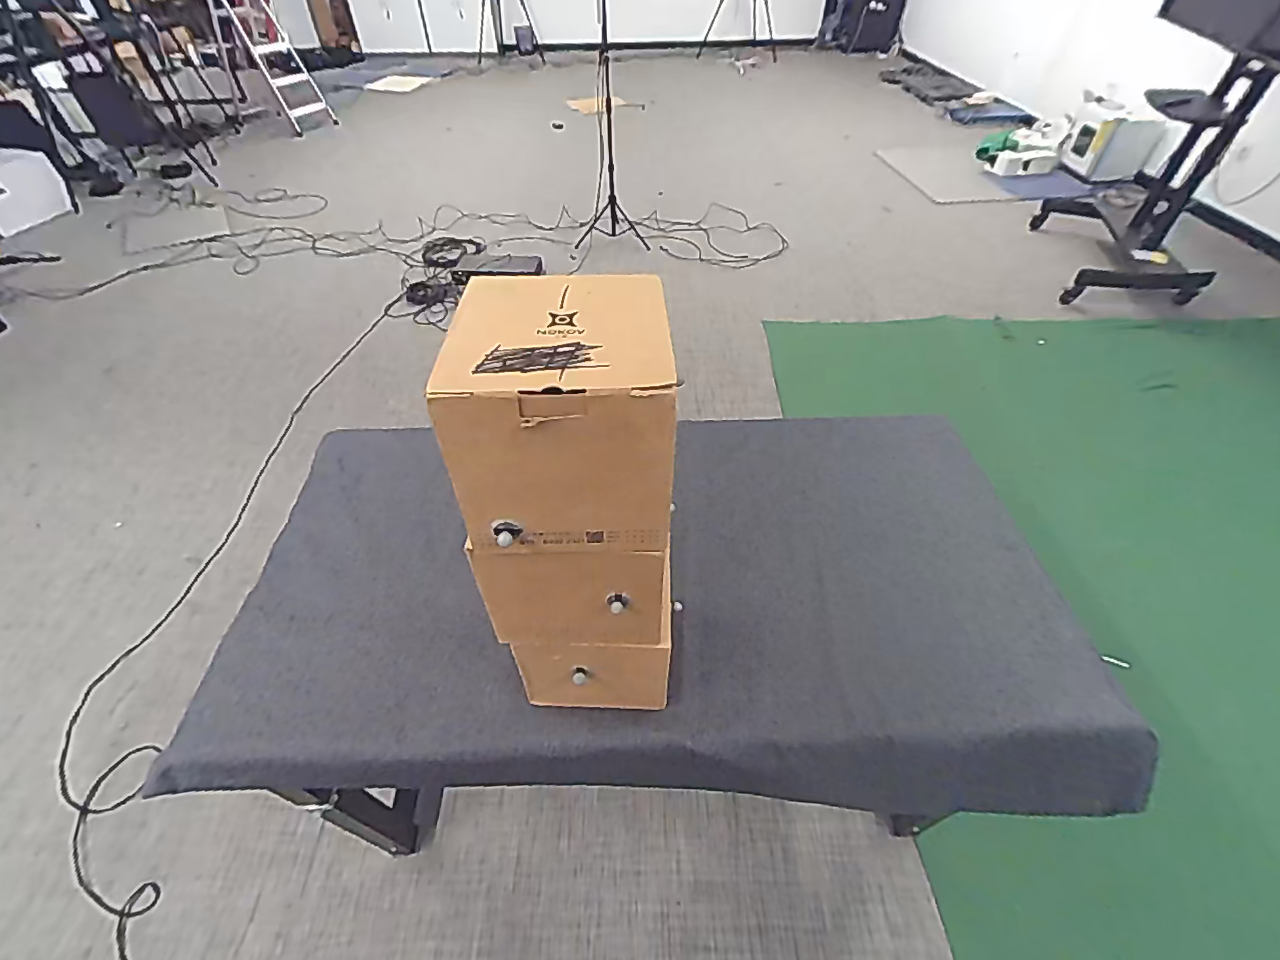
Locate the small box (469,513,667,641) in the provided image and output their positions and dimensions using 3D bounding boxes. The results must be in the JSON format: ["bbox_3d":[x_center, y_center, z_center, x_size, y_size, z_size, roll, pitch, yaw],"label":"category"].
[{"bbox_3d":[-0.064,0.062,0.588,0.179,0.176,0.168,0,44,1],"label":"small box"}]

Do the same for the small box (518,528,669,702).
[{"bbox_3d":[-0.051,0.175,0.704,0.179,0.176,0.168,1,46,2],"label":"small box"}]

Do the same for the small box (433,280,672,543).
[{"bbox_3d":[-0.060,-0.058,0.475,0.168,0.176,0.179,0,44,-2],"label":"small box"}]
